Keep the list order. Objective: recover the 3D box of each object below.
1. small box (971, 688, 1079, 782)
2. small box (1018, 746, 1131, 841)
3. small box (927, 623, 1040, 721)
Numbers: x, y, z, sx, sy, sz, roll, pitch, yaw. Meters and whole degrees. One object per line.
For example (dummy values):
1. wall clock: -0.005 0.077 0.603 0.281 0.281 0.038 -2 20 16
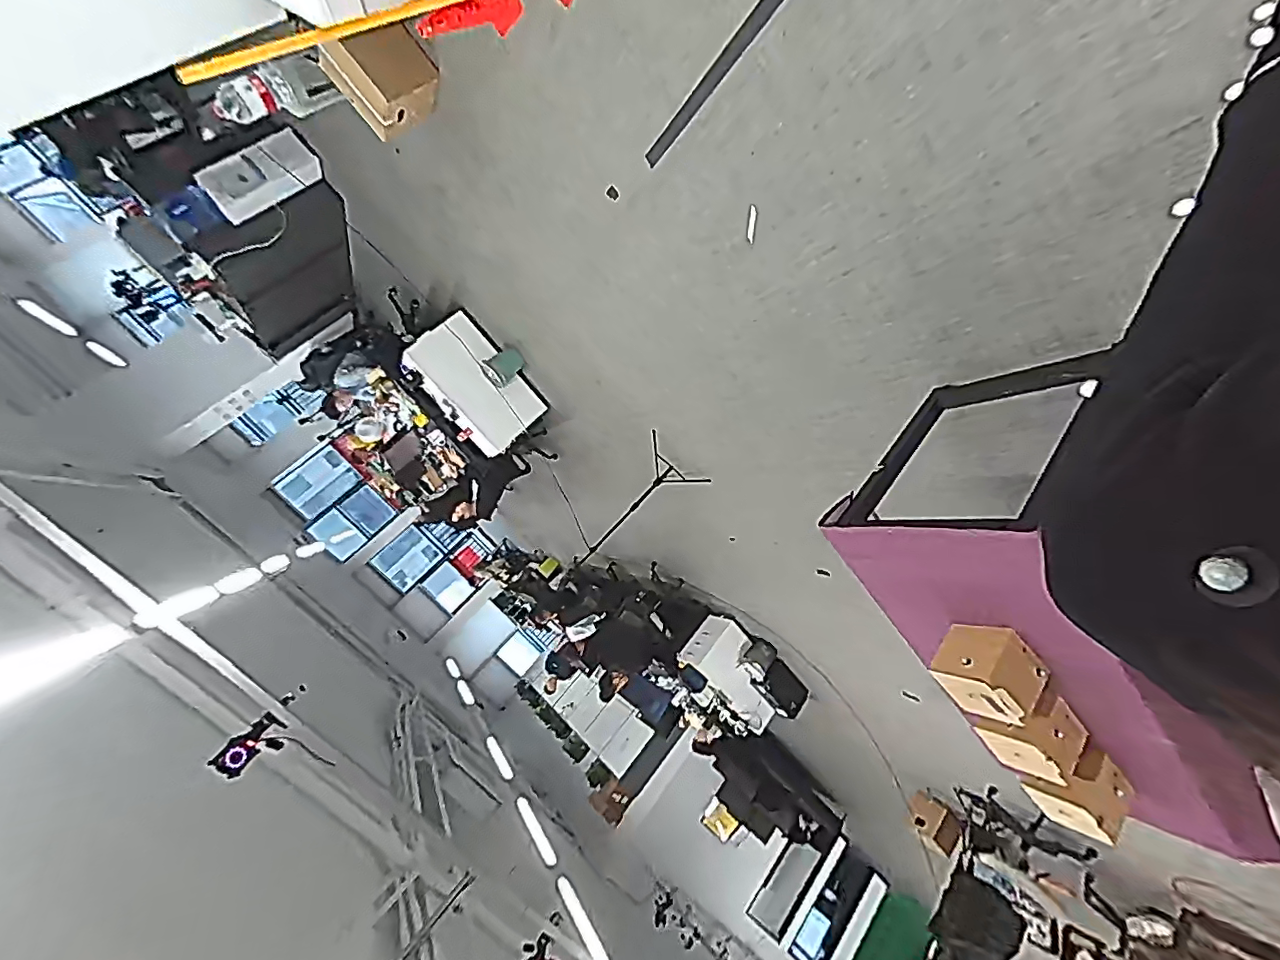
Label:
1. small box: 1.070 0.681 1.493 0.168 0.176 0.179 49 159 -12
2. small box: 1.234 0.865 1.537 0.168 0.176 0.179 47 158 -11
3. small box: 0.911 0.496 1.425 0.168 0.176 0.179 47 159 -7
